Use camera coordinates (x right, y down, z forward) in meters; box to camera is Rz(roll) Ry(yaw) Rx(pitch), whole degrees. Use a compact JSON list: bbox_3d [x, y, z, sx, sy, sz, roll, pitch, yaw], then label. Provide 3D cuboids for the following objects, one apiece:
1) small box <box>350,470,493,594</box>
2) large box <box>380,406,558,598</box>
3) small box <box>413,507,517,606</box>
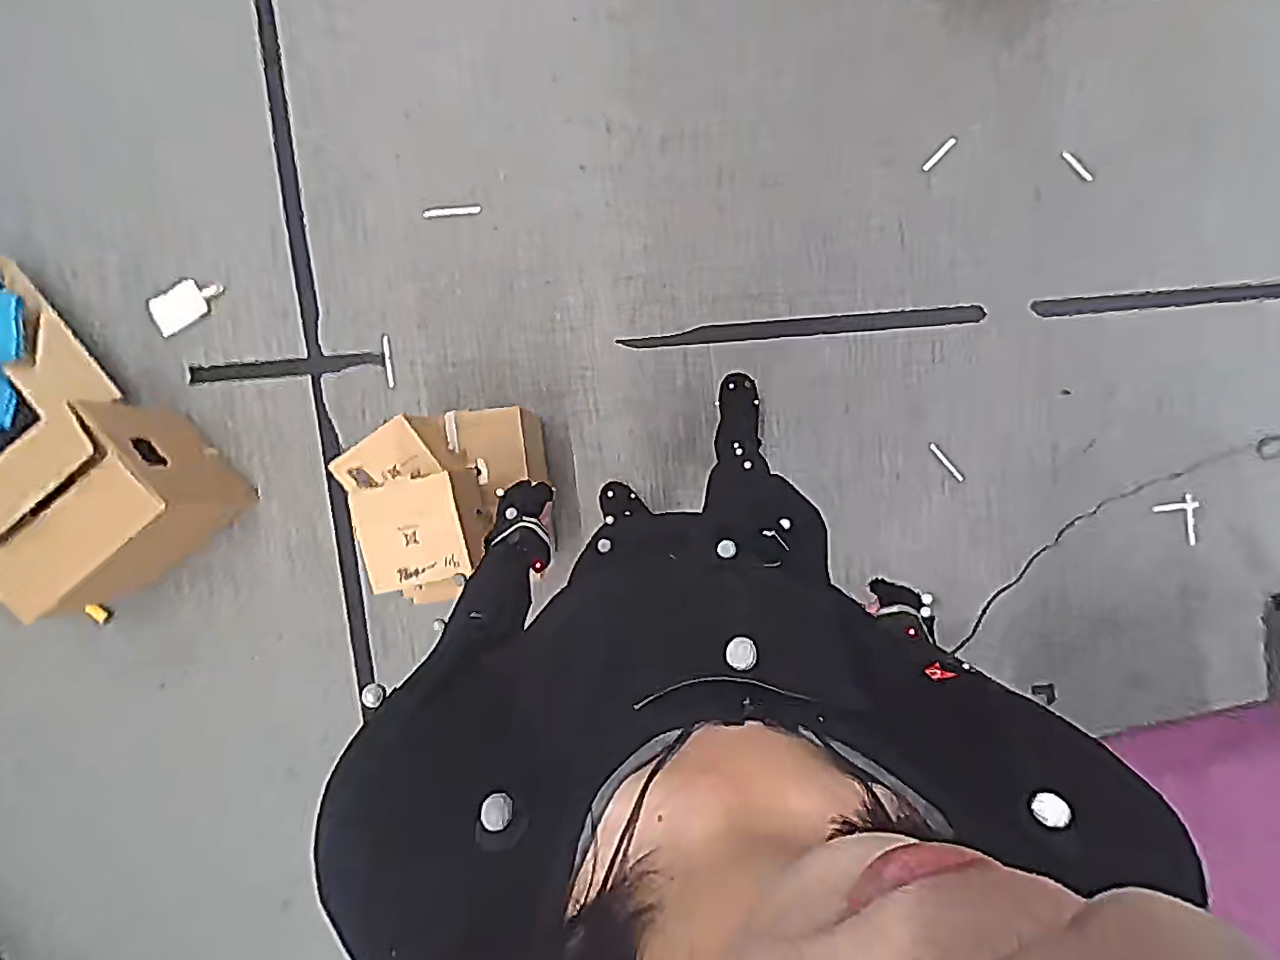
[{"bbox_3d":[-0.372,0.082,0.951,0.168,0.176,0.179,-12,94,-2],"label":"small box"},{"bbox_3d":[-0.402,0.046,1.355,0.320,0.320,0.408,-8,92,-3],"label":"large box"},{"bbox_3d":[-0.359,0.151,1.119,0.179,0.176,0.168,-8,91,0],"label":"small box"}]
